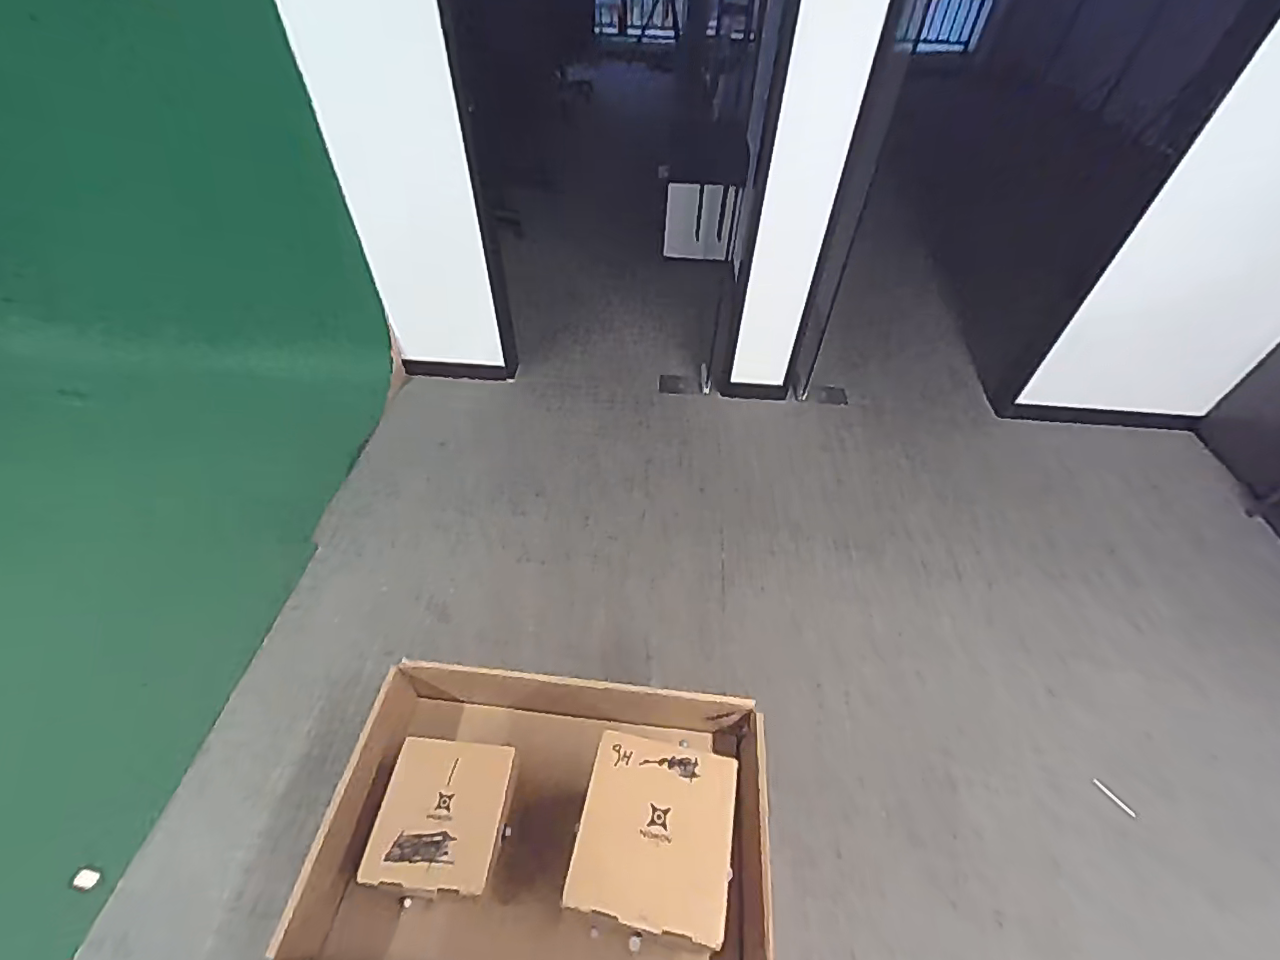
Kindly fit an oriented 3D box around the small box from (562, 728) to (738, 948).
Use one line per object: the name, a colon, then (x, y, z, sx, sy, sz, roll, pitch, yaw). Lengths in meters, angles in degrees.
small box: (0.017, 0.431, 0.651, 0.168, 0.176, 0.179, 10, 49, 7)
